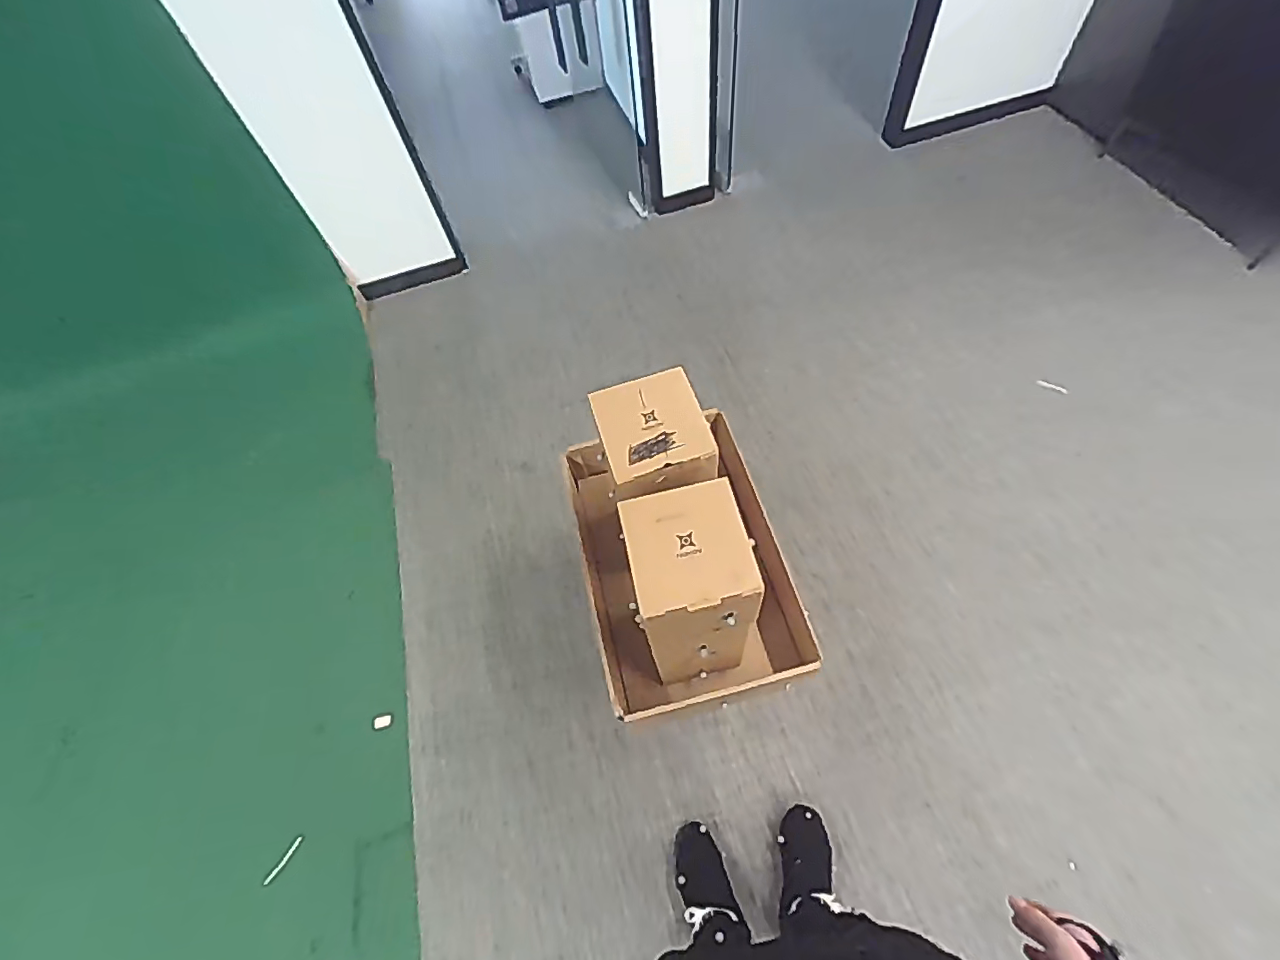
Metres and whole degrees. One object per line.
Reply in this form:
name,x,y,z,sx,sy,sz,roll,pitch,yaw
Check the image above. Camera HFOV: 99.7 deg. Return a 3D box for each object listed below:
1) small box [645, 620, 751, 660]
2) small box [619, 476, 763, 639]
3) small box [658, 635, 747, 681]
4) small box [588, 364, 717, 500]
small box,0.086,0.201,0.938,0.168,0.176,0.179,-14,60,-1
small box,0.073,0.123,0.794,0.168,0.176,0.179,-13,59,-1
small box,0.105,0.282,1.078,0.168,0.176,0.179,-15,59,-1
small box,0.024,-0.057,0.908,0.168,0.176,0.179,-17,62,-3
